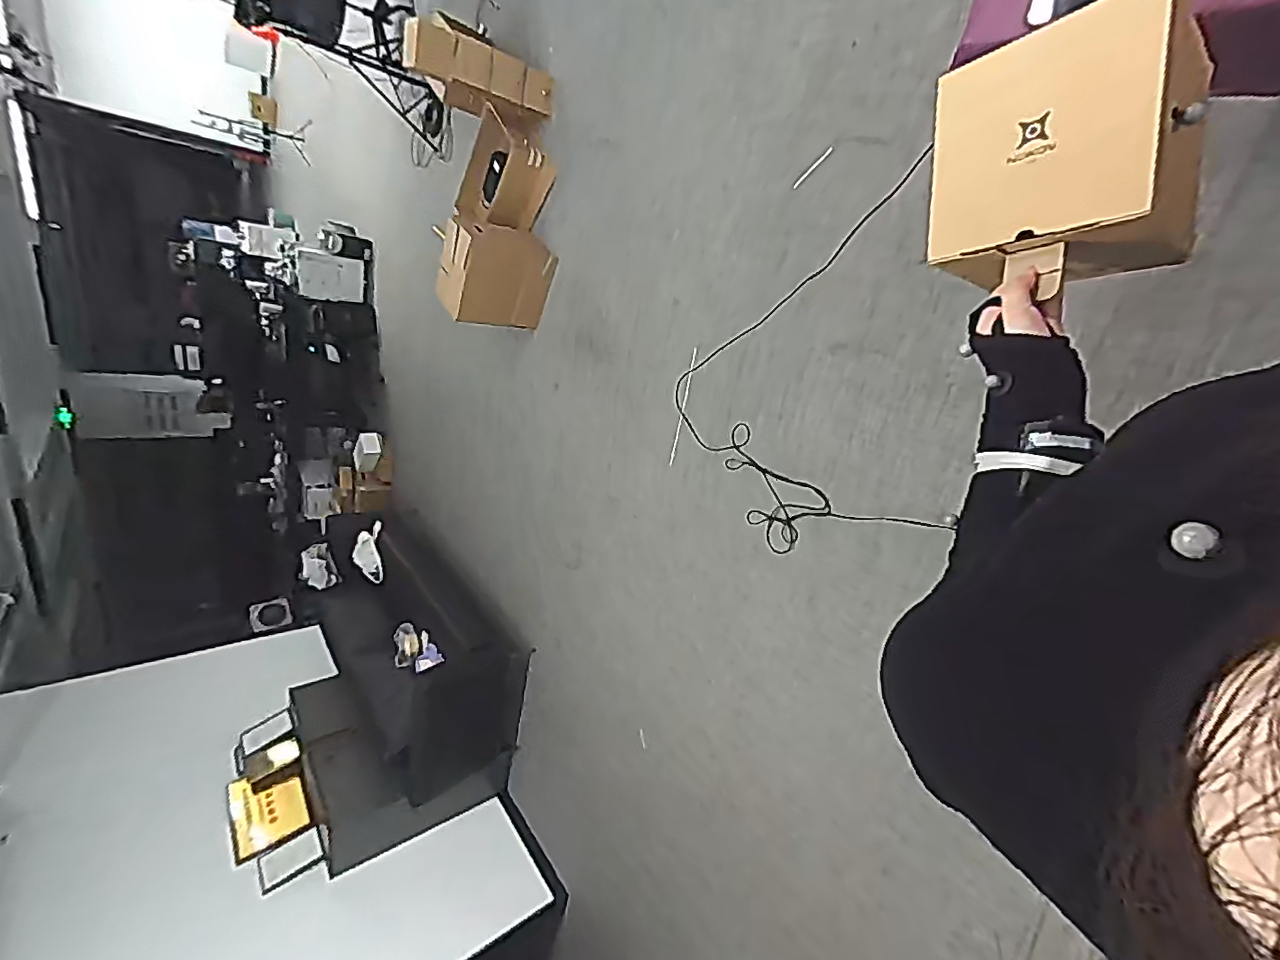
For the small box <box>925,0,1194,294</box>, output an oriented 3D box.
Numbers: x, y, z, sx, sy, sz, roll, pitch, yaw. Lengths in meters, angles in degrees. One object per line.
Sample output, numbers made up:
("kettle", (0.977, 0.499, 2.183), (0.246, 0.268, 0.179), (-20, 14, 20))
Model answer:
("small box", (0.403, -0.296, 0.523), (0.168, 0.176, 0.179), (8, 98, 52))
